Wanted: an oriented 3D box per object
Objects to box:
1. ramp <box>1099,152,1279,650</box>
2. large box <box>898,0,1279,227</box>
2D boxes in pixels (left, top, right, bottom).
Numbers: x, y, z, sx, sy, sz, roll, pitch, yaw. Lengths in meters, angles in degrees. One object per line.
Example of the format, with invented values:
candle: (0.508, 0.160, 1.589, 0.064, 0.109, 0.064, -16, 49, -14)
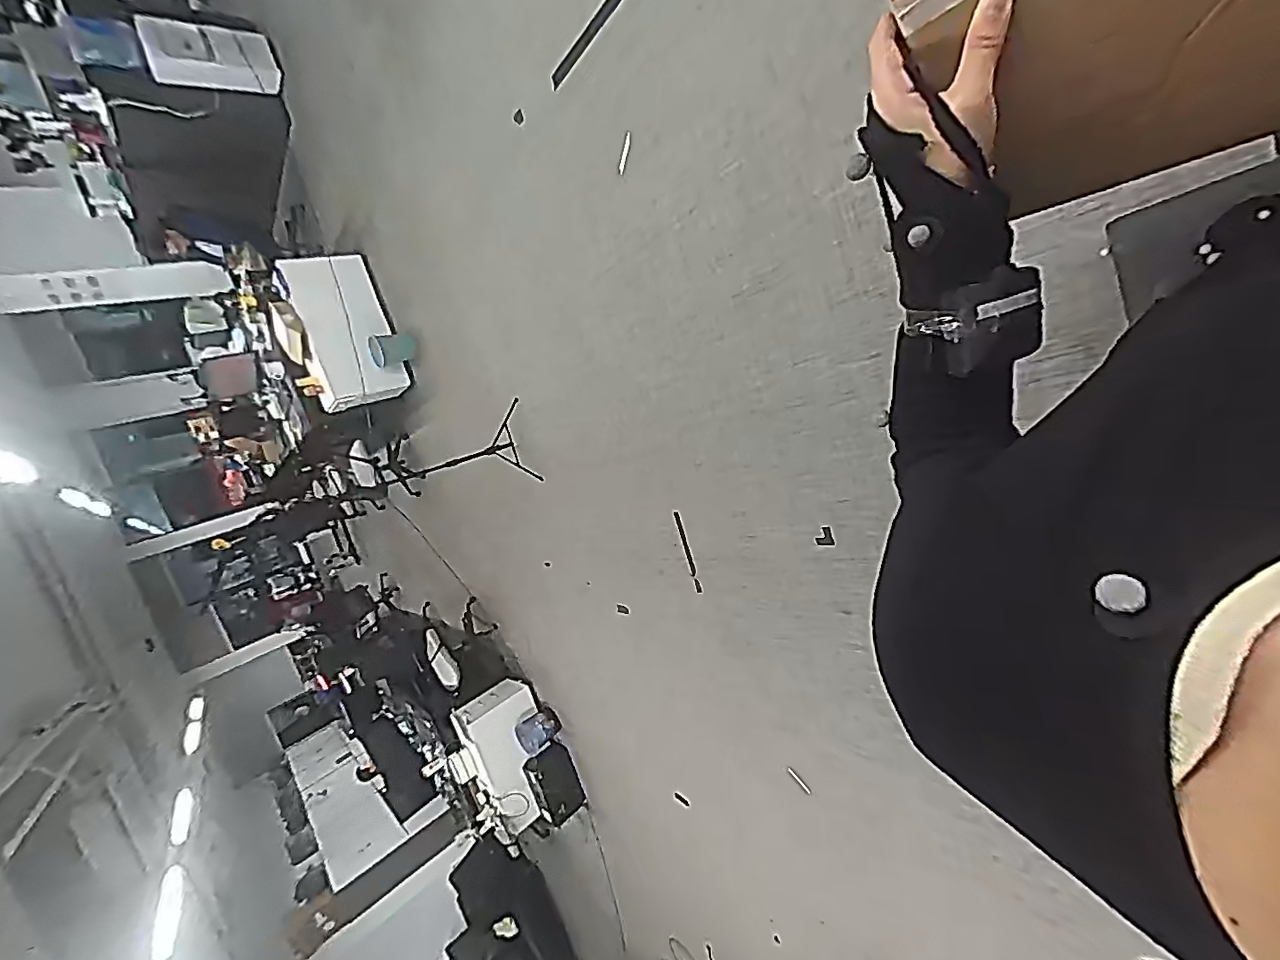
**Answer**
ramp: (1.226, -0.082, 0.930, 0.509, 0.206, 0.991, -13, 100, 50)
large box: (0.346, -0.403, 0.232, 0.320, 0.320, 0.408, 40, 153, -31)
